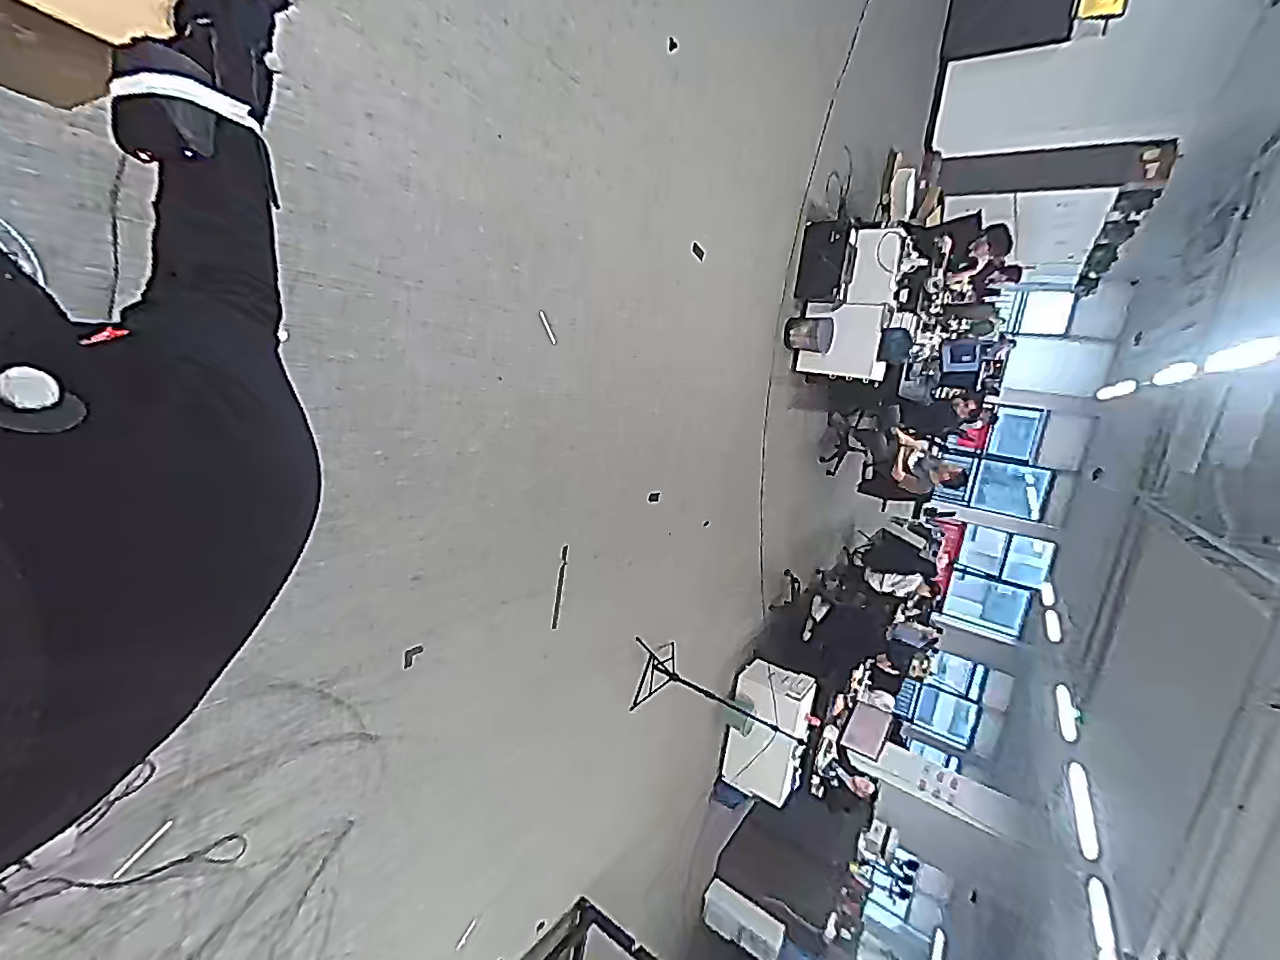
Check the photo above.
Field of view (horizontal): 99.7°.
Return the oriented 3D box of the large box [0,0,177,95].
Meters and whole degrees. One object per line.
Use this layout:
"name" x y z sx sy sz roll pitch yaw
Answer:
"large box" -0.545 -0.484 0.282 0.408 0.320 0.320 -4 110 -57
